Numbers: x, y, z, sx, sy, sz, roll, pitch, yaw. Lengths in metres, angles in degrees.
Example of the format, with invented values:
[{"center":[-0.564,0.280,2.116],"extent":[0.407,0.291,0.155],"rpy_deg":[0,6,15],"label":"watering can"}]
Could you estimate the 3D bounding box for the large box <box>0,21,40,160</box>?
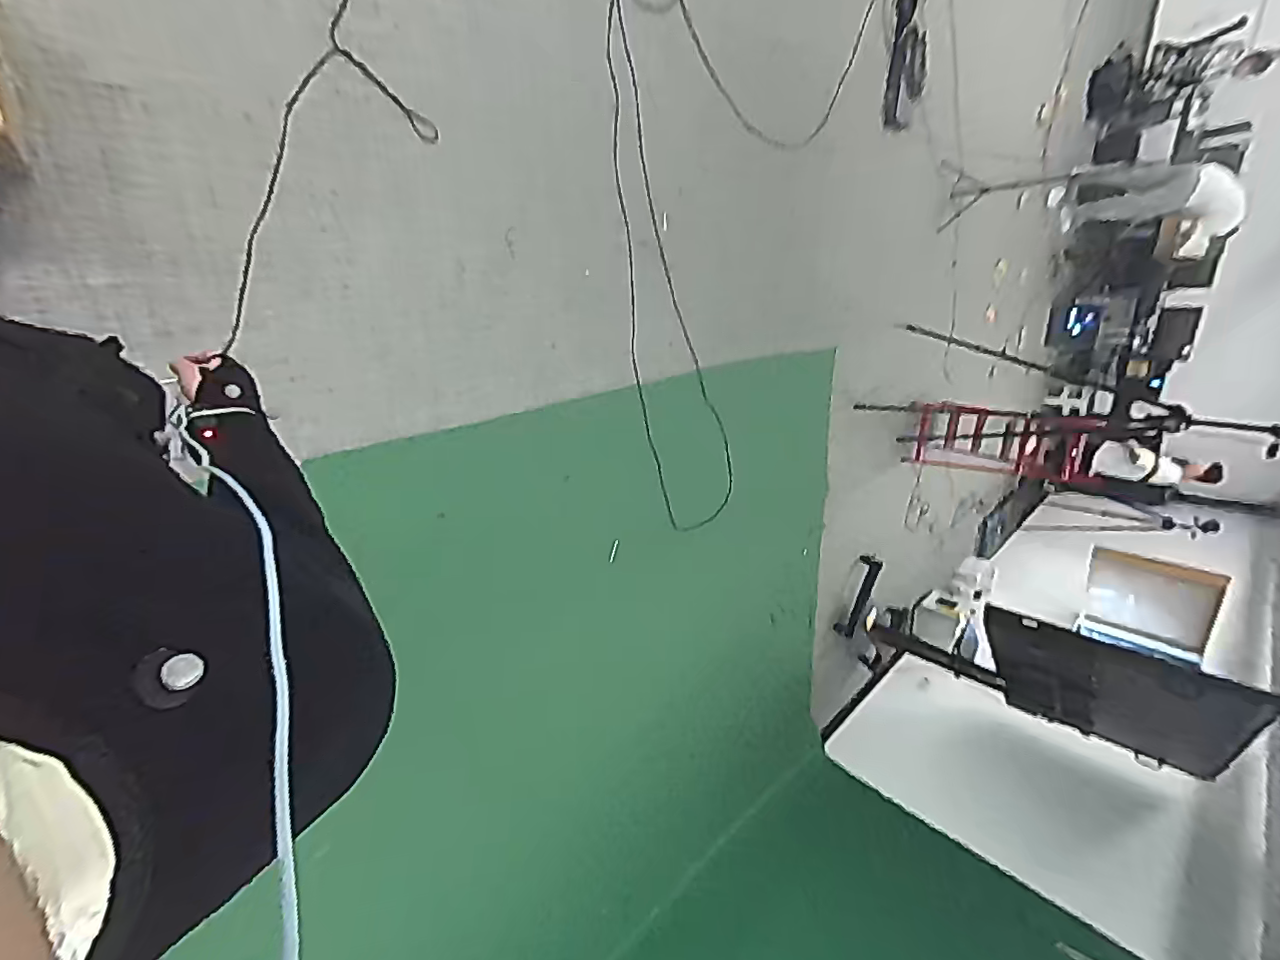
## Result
[{"center":[-1.209,-0.691,0.770],"extent":[0.408,0.320,0.320],"rpy_deg":[-13,109,-39],"label":"large box"}]
